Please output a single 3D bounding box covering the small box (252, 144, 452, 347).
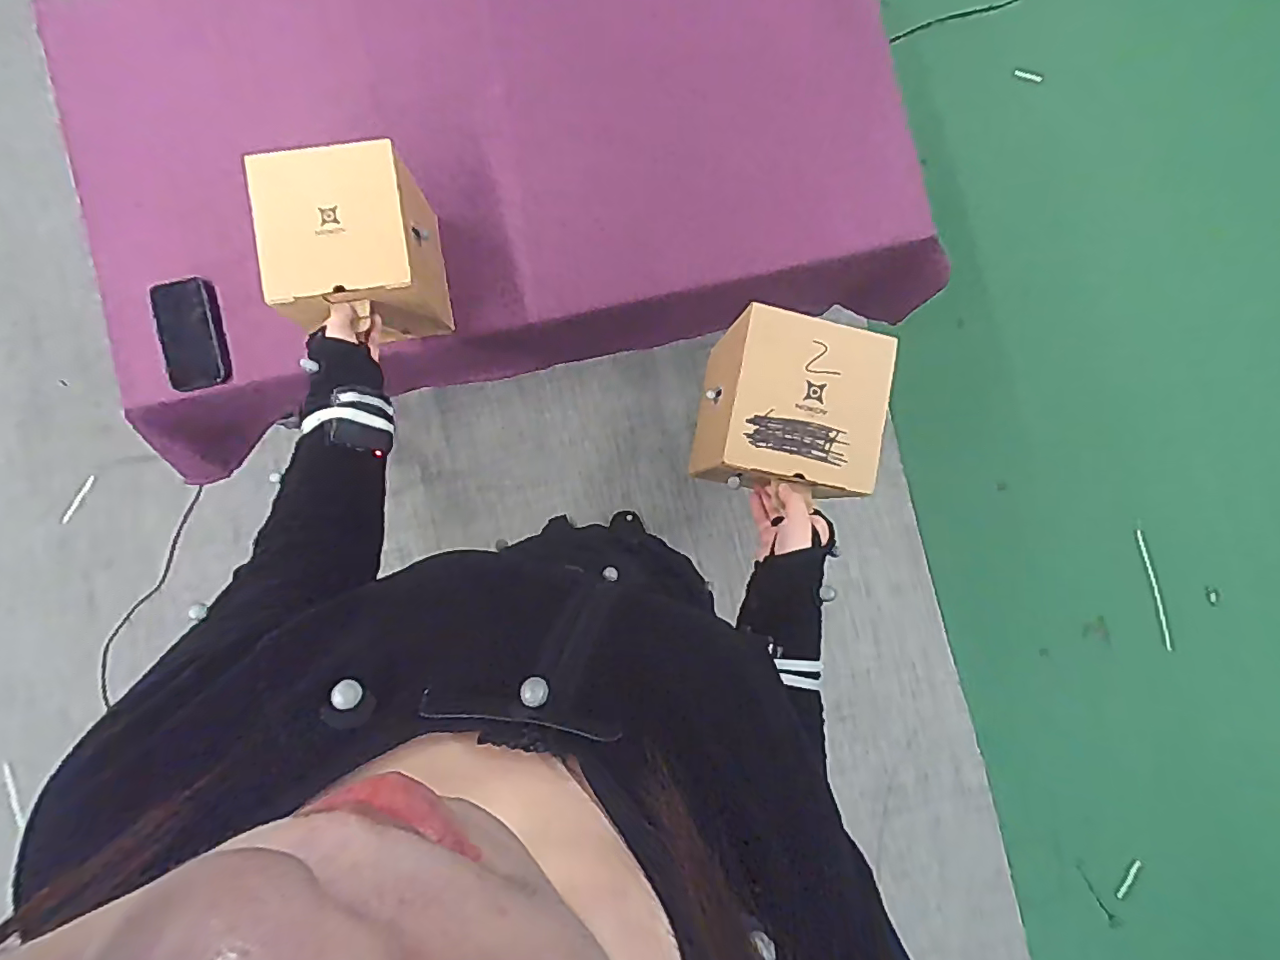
[{"bbox_3d":[-0.353,-0.288,0.693,0.168,0.176,0.179,-9,88,-5],"label":"small box"}]
